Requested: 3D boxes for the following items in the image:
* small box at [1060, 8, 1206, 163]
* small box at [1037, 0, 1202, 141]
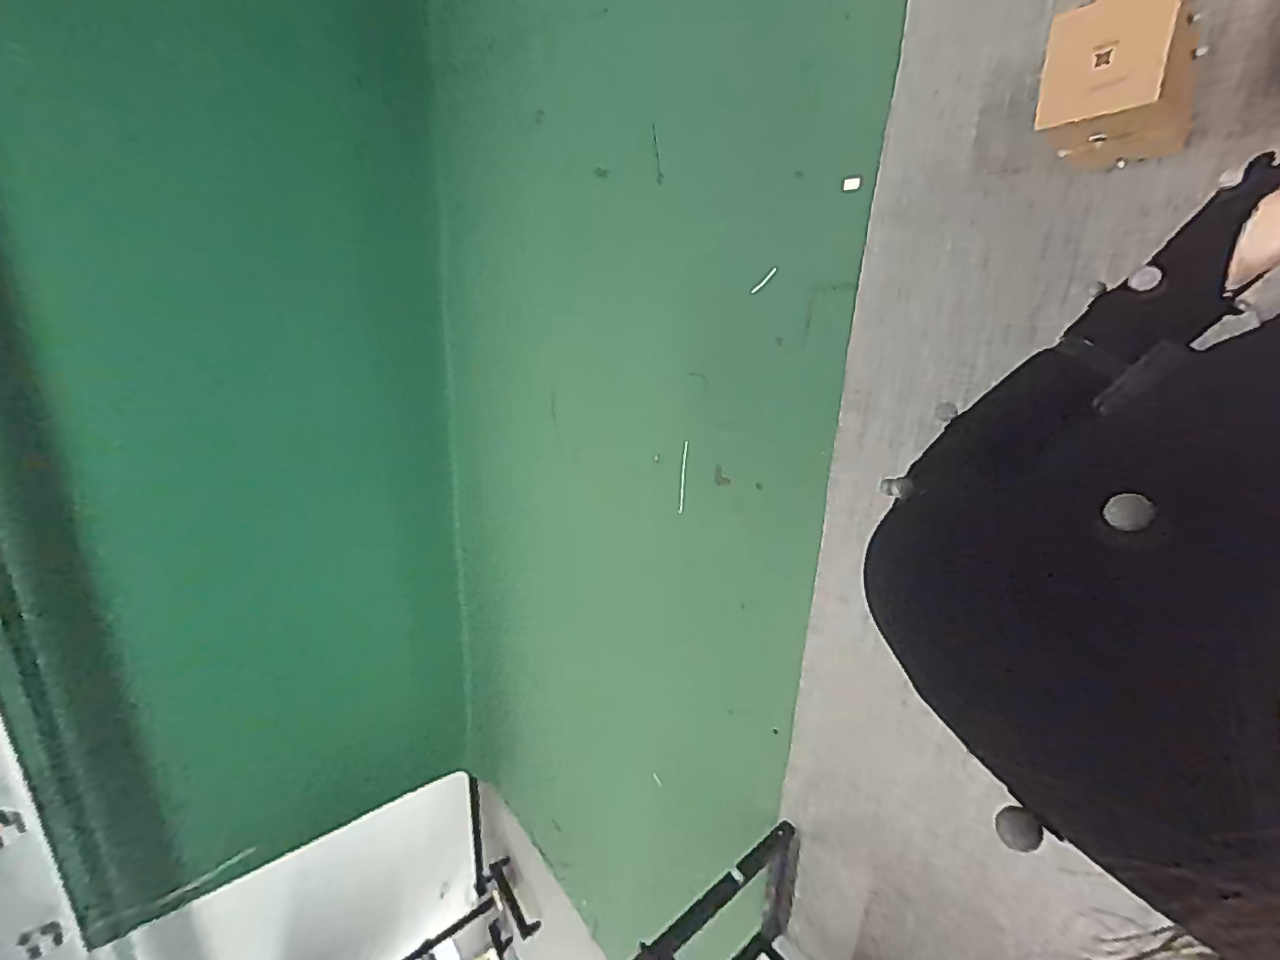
[{"bbox_3d":[0.922,-0.723,1.012,0.168,0.176,0.179,16,111,48],"label":"small box"},{"bbox_3d":[0.802,-0.702,0.904,0.168,0.176,0.179,17,112,49],"label":"small box"}]
